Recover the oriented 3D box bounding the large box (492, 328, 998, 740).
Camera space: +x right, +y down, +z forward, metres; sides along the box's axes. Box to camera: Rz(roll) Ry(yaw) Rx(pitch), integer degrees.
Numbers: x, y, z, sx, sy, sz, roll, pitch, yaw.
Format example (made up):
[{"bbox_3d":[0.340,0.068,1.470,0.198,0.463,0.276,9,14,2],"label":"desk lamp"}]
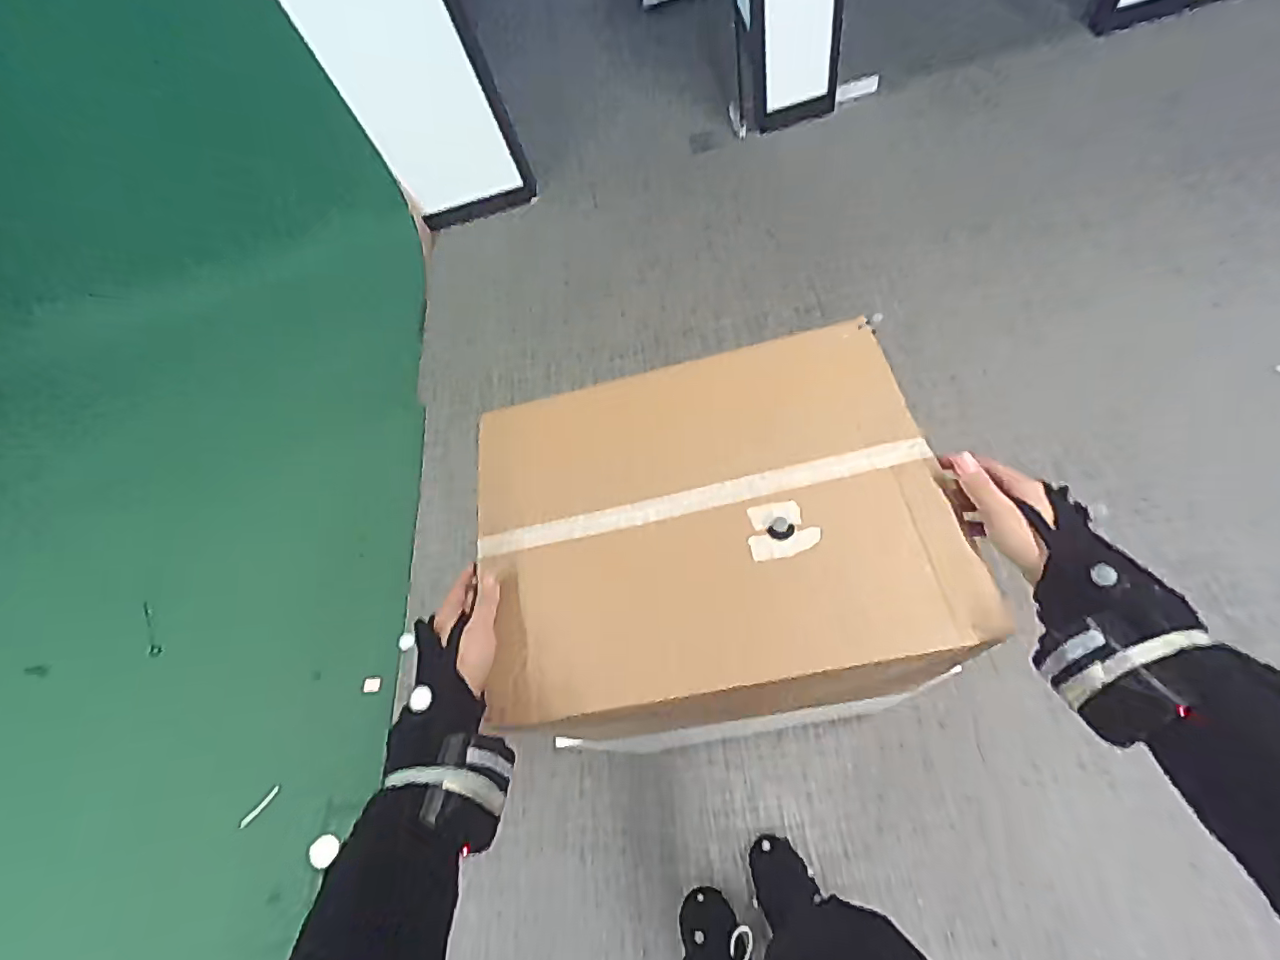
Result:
[{"bbox_3d":[0.081,0.090,0.618,0.408,0.320,0.320,-13,61,6],"label":"large box"}]
